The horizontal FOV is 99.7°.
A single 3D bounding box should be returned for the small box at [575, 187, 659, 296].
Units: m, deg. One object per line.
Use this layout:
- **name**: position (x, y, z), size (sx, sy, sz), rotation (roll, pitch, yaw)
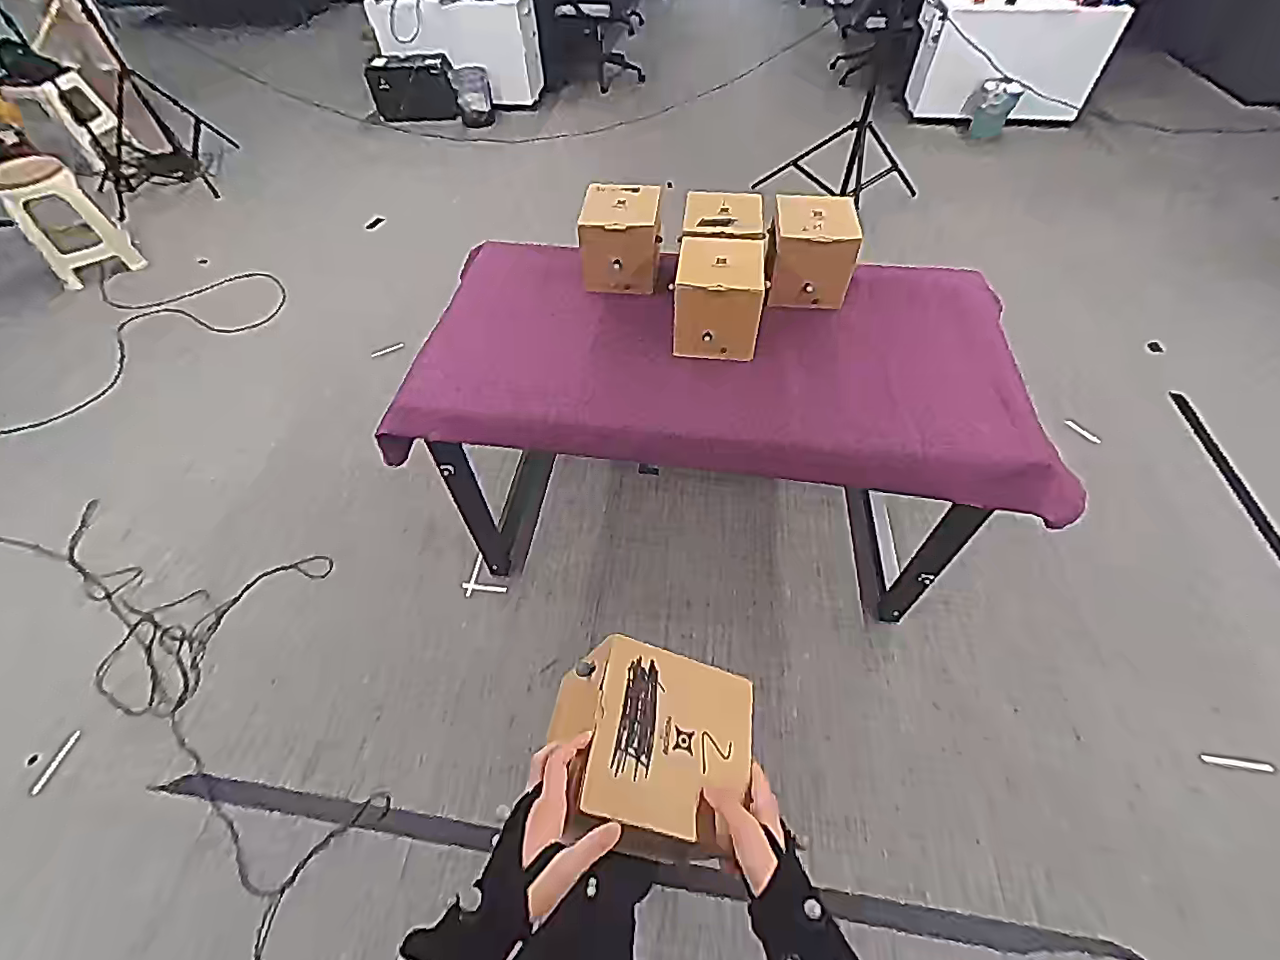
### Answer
- **small box**: position (-0.045, -0.545, 1.242), size (0.168, 0.176, 0.179), rotation (4, 55, 5)
